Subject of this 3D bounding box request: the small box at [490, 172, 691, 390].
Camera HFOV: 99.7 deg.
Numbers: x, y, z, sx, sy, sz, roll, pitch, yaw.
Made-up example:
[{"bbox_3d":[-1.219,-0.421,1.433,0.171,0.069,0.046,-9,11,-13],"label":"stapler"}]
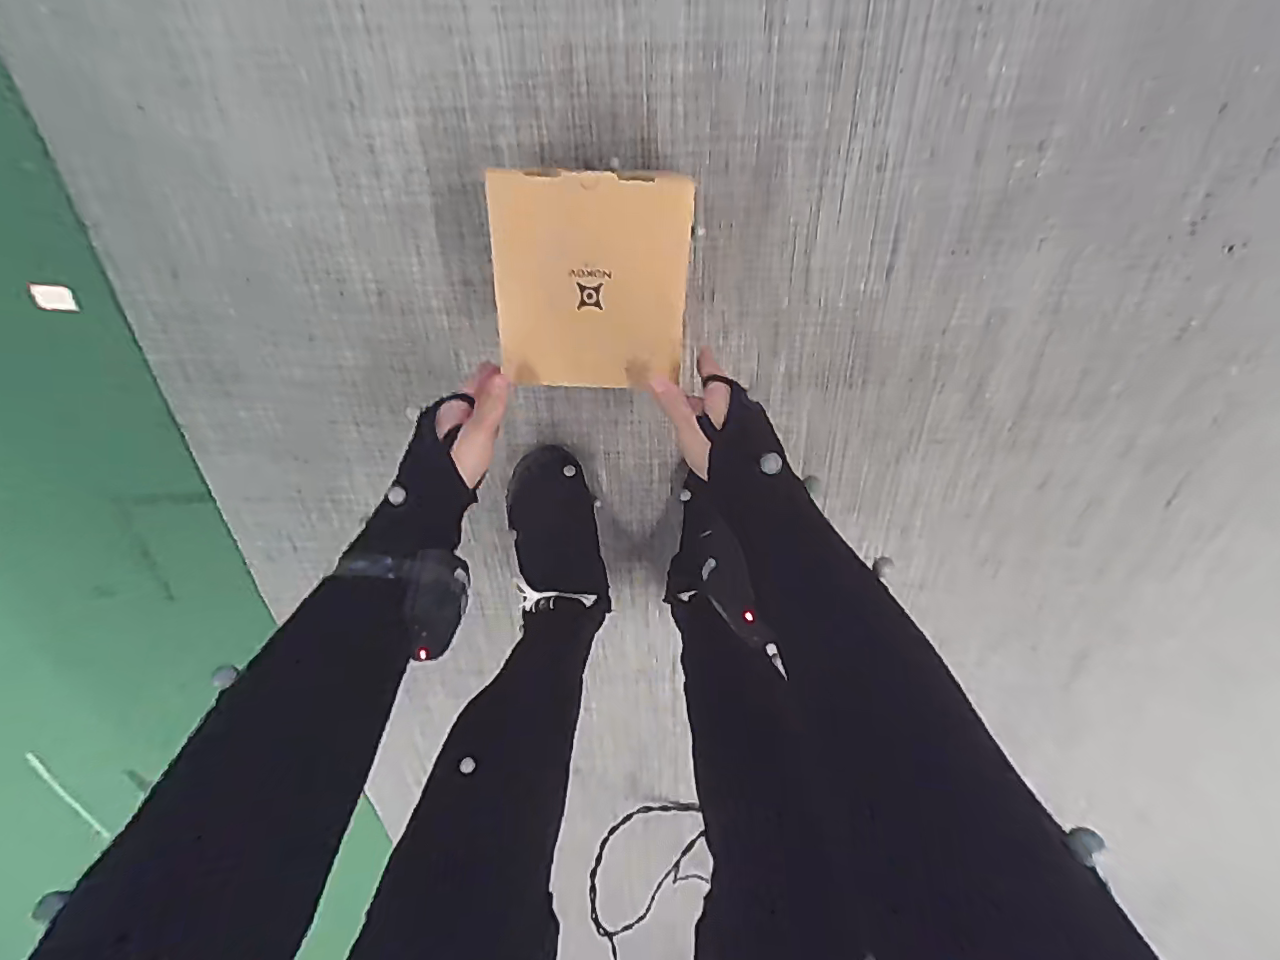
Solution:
[{"bbox_3d":[-0.040,-0.205,0.543,0.168,0.176,0.179,2,119,0],"label":"small box"}]
